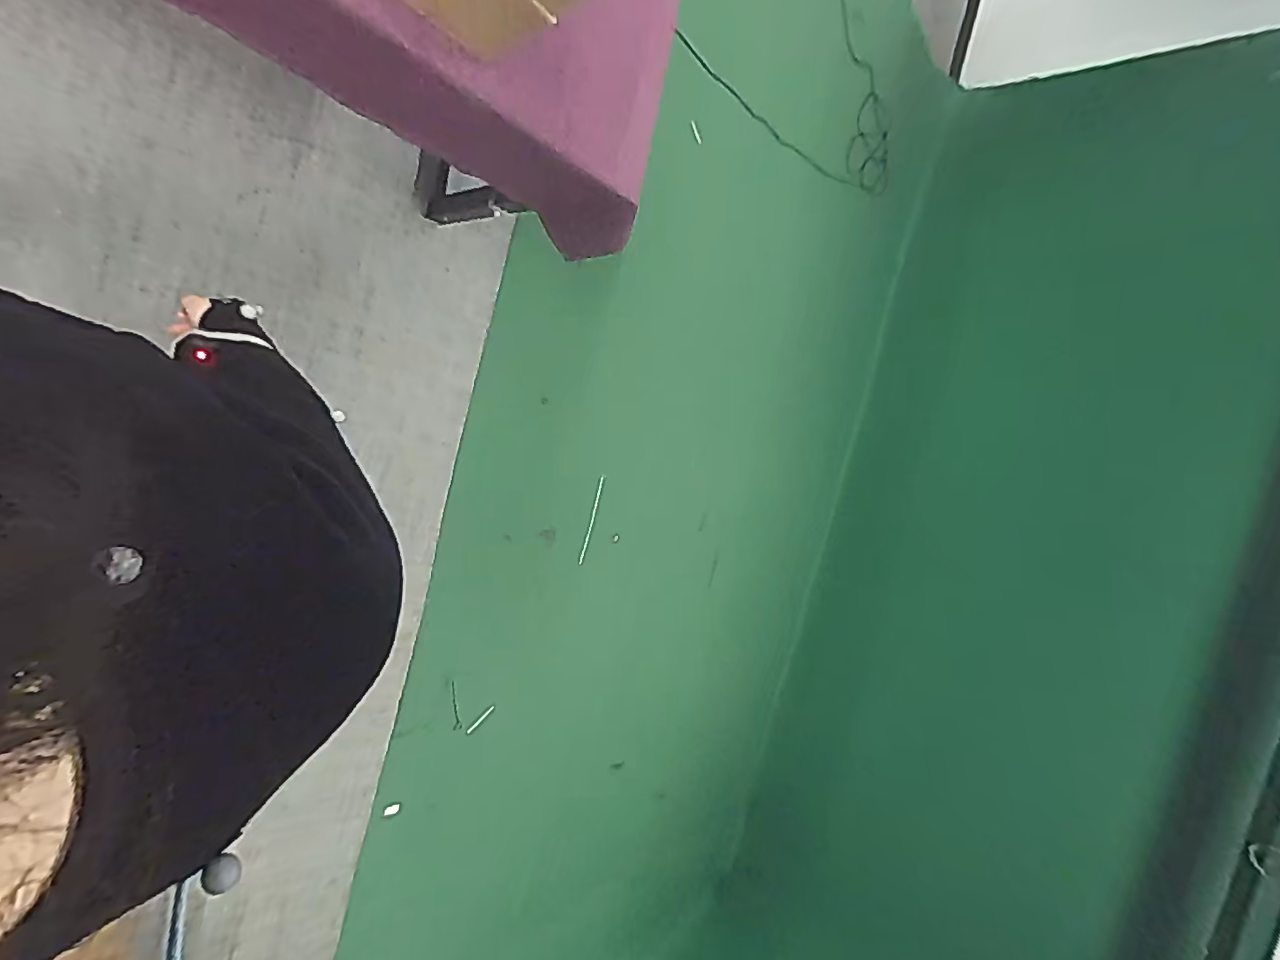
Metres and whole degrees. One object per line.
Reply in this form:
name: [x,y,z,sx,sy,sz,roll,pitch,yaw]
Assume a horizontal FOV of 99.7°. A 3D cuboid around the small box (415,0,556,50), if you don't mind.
small box: [-0.201,-0.656,0.632,0.179,0.176,0.168,9,97,-50]
